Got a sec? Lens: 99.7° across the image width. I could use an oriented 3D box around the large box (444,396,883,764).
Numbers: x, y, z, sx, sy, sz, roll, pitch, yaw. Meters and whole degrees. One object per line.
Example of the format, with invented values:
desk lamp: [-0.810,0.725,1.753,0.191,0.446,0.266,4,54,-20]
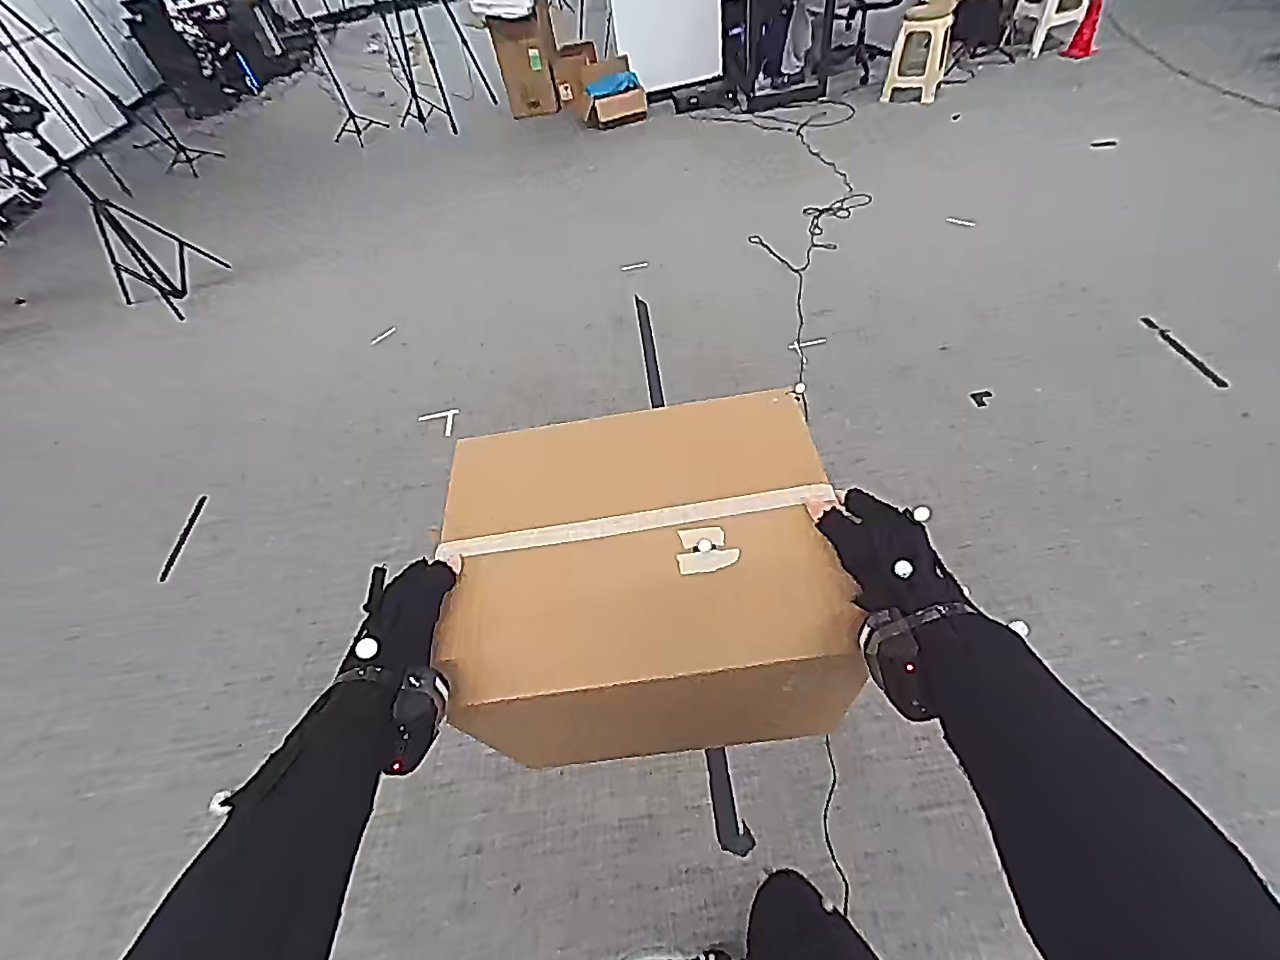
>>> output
large box: [0.019,0.137,0.682,0.408,0.320,0.320,-8,53,2]
